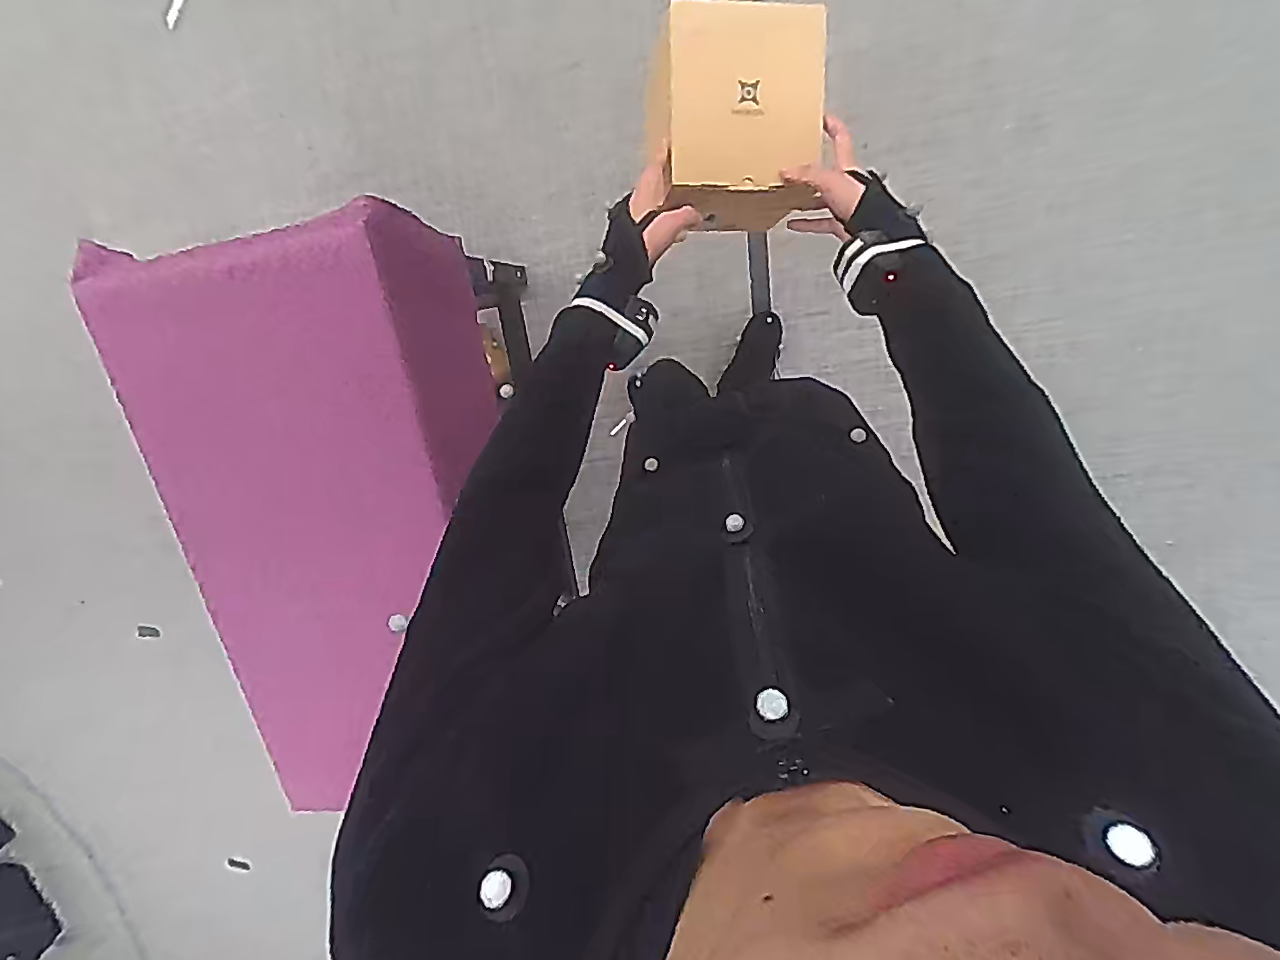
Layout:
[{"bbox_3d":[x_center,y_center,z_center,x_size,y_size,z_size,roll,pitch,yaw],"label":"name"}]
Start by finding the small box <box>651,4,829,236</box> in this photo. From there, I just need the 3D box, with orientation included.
[{"bbox_3d":[0.105,-0.405,0.640,0.168,0.176,0.179,-3,101,-7],"label":"small box"}]

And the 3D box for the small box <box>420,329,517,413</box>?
[{"bbox_3d":[-0.494,-0.323,1.581,0.179,0.176,0.168,-35,99,19],"label":"small box"}]
